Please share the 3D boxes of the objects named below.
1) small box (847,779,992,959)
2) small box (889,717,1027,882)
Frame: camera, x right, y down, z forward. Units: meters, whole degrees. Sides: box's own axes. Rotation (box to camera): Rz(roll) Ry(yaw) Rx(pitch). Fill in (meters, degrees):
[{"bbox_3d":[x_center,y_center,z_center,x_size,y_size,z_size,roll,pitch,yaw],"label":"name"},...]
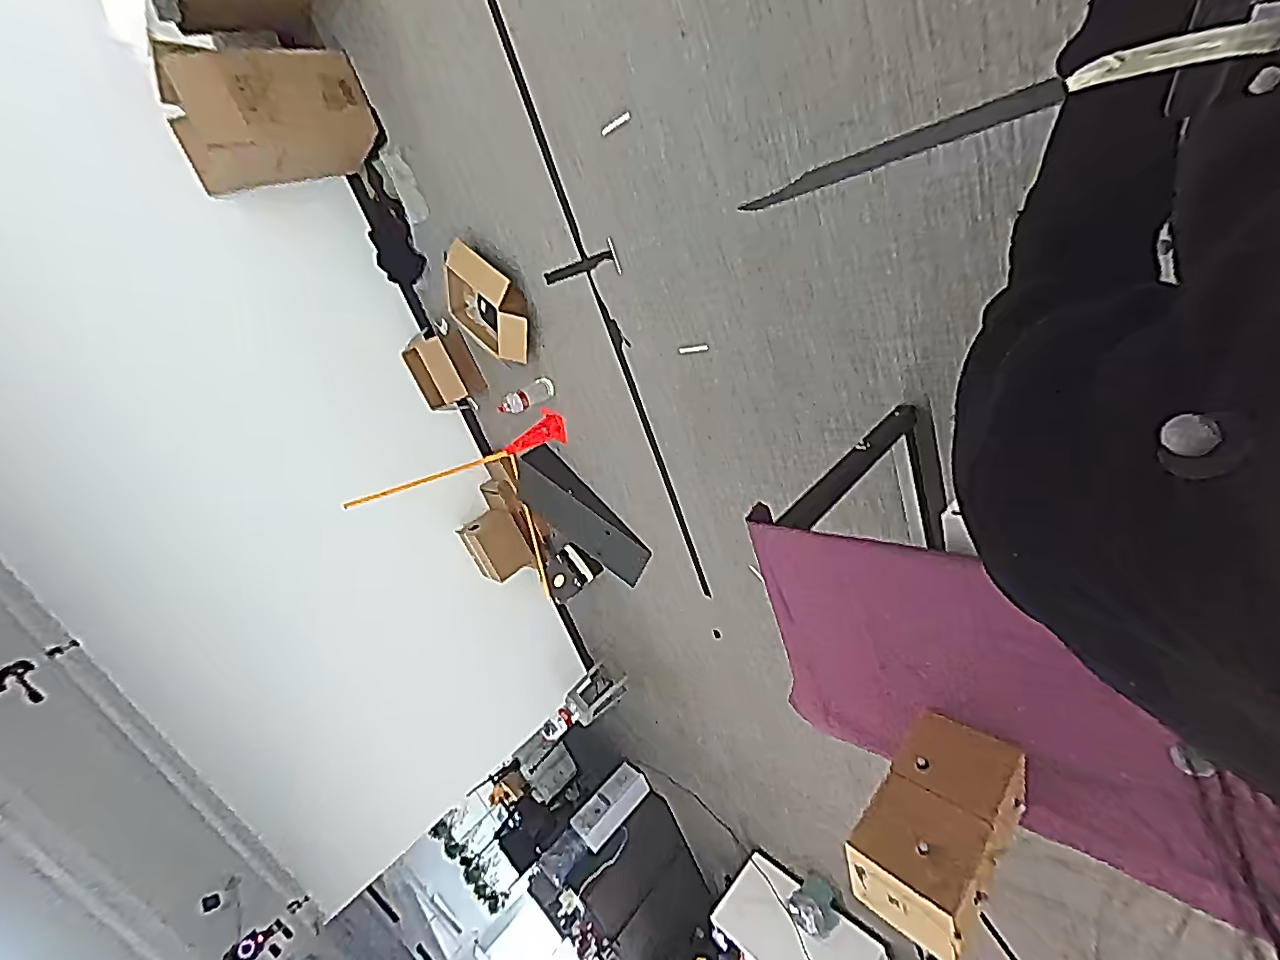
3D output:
[{"bbox_3d":[0.483,0.662,0.928,0.179,0.176,0.168,12,127,47],"label":"small box"},{"bbox_3d":[0.597,0.583,1.016,0.179,0.176,0.168,11,127,48],"label":"small box"}]
